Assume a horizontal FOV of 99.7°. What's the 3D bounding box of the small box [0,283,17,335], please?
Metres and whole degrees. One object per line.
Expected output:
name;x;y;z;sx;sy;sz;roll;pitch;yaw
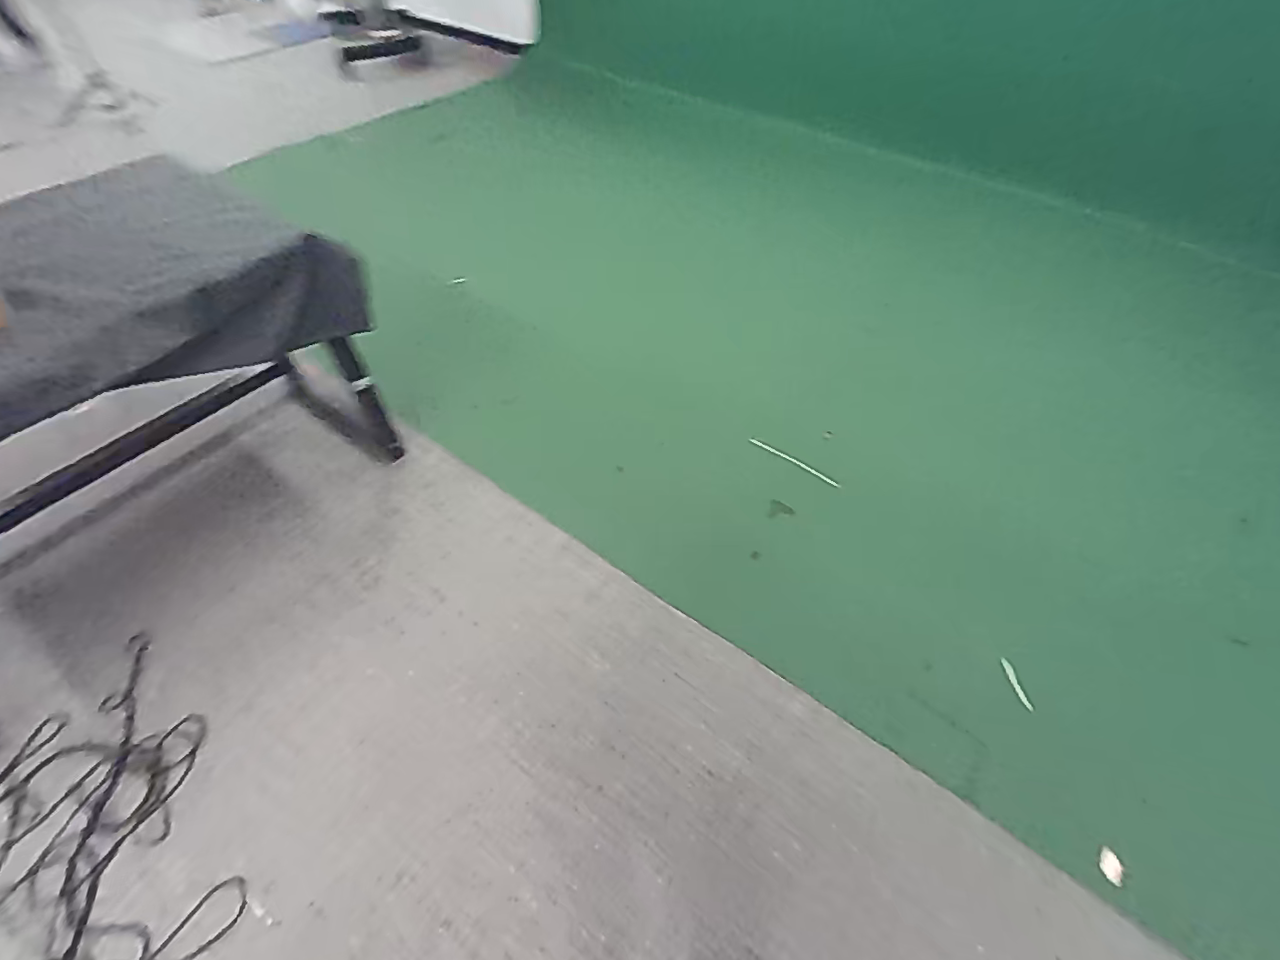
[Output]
small box;-1.199;-0.319;0.889;0.168;0.176;0.179;37;60;26
